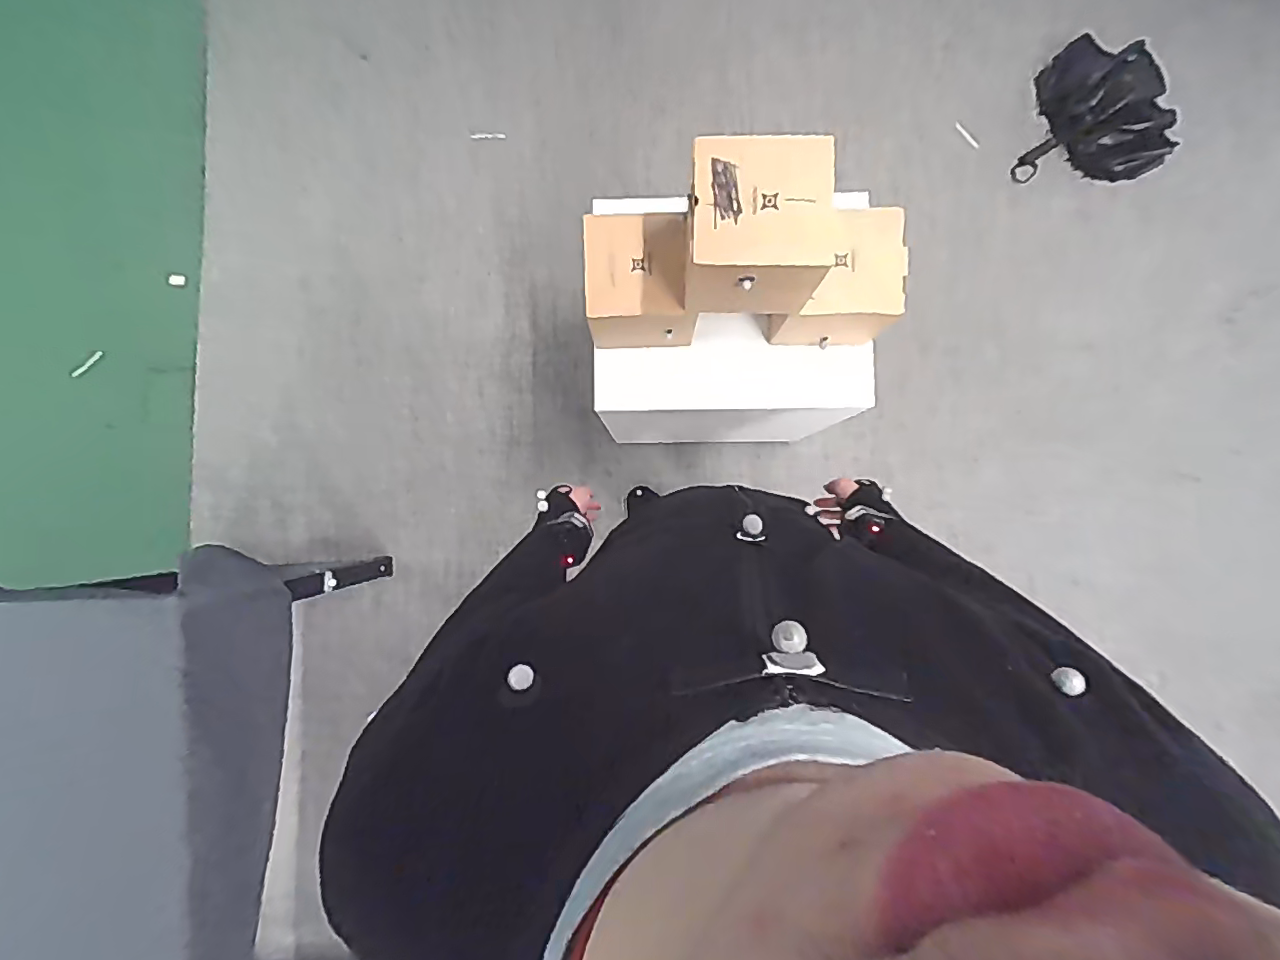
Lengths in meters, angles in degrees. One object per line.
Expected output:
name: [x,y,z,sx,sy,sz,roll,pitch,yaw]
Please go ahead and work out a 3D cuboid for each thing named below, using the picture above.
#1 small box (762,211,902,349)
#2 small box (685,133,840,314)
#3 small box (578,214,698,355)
small box: [0.308,-0.321,0.894,0.179,0.176,0.168,-1,87,1]
small box: [0.152,-0.332,0.728,0.179,0.176,0.168,0,87,-1]
small box: [-0.005,-0.312,0.890,0.179,0.176,0.168,-3,86,-1]
